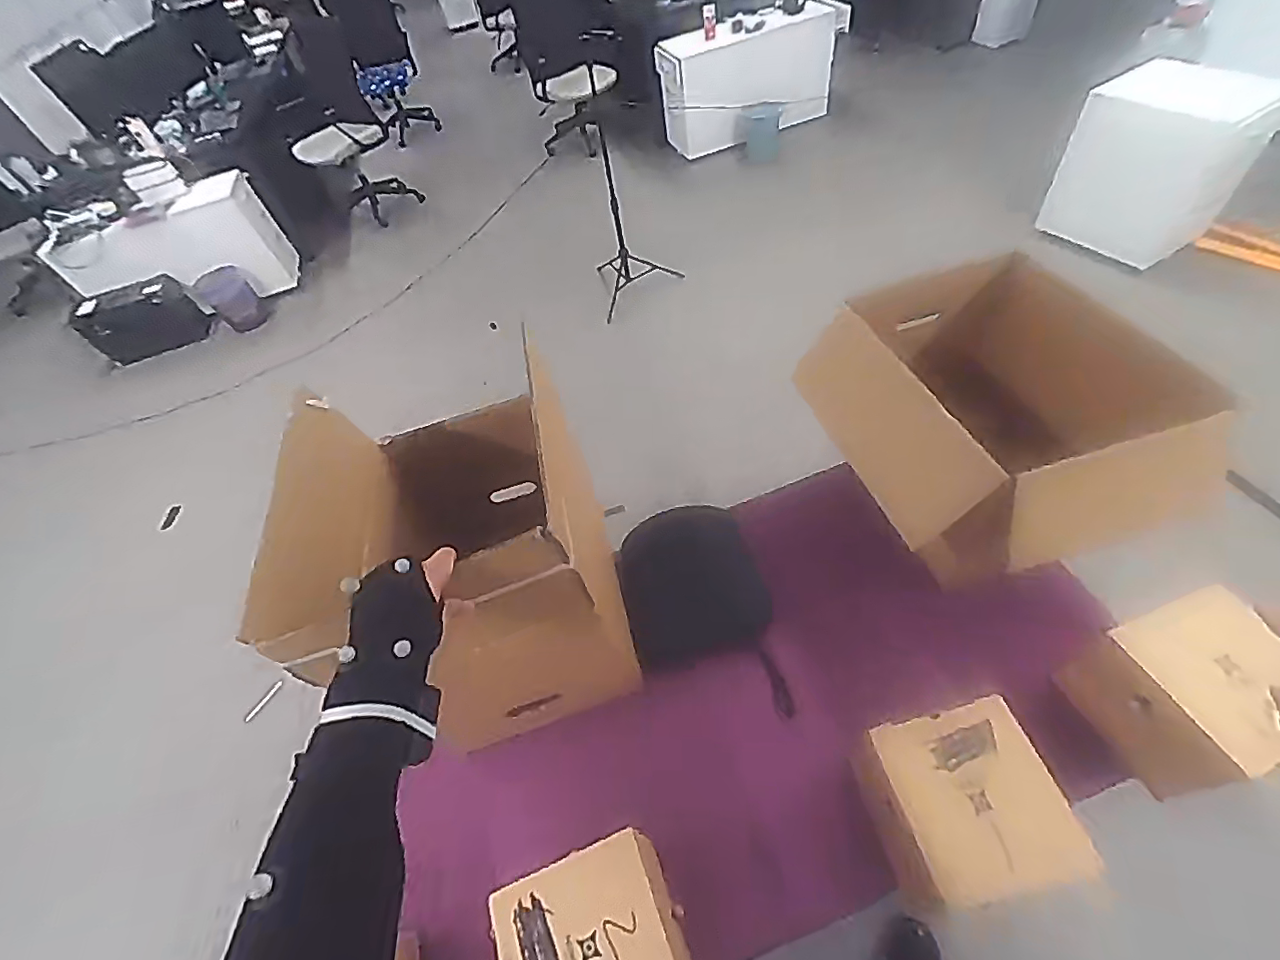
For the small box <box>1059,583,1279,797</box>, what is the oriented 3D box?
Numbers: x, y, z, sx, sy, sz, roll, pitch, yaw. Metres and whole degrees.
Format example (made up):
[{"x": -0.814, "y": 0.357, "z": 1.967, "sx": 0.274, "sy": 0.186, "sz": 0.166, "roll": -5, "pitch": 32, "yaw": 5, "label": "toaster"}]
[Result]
[{"x": 0.686, "y": 0.265, "z": 0.676, "sx": 0.168, "sy": 0.176, "sz": 0.179, "roll": -22, "pitch": 51, "yaw": -4, "label": "small box"}]

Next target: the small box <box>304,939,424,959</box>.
[{"x": -0.362, "y": 0.645, "z": 0.602, "sx": 0.179, "sy": 0.176, "sz": 0.168, "roll": -18, "pitch": 51, "yaw": -4, "label": "small box"}]

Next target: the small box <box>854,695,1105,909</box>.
[{"x": 0.378, "y": 0.387, "z": 0.648, "sx": 0.168, "sy": 0.176, "sz": 0.179, "roll": -16, "pitch": 52, "yaw": 0, "label": "small box"}]
